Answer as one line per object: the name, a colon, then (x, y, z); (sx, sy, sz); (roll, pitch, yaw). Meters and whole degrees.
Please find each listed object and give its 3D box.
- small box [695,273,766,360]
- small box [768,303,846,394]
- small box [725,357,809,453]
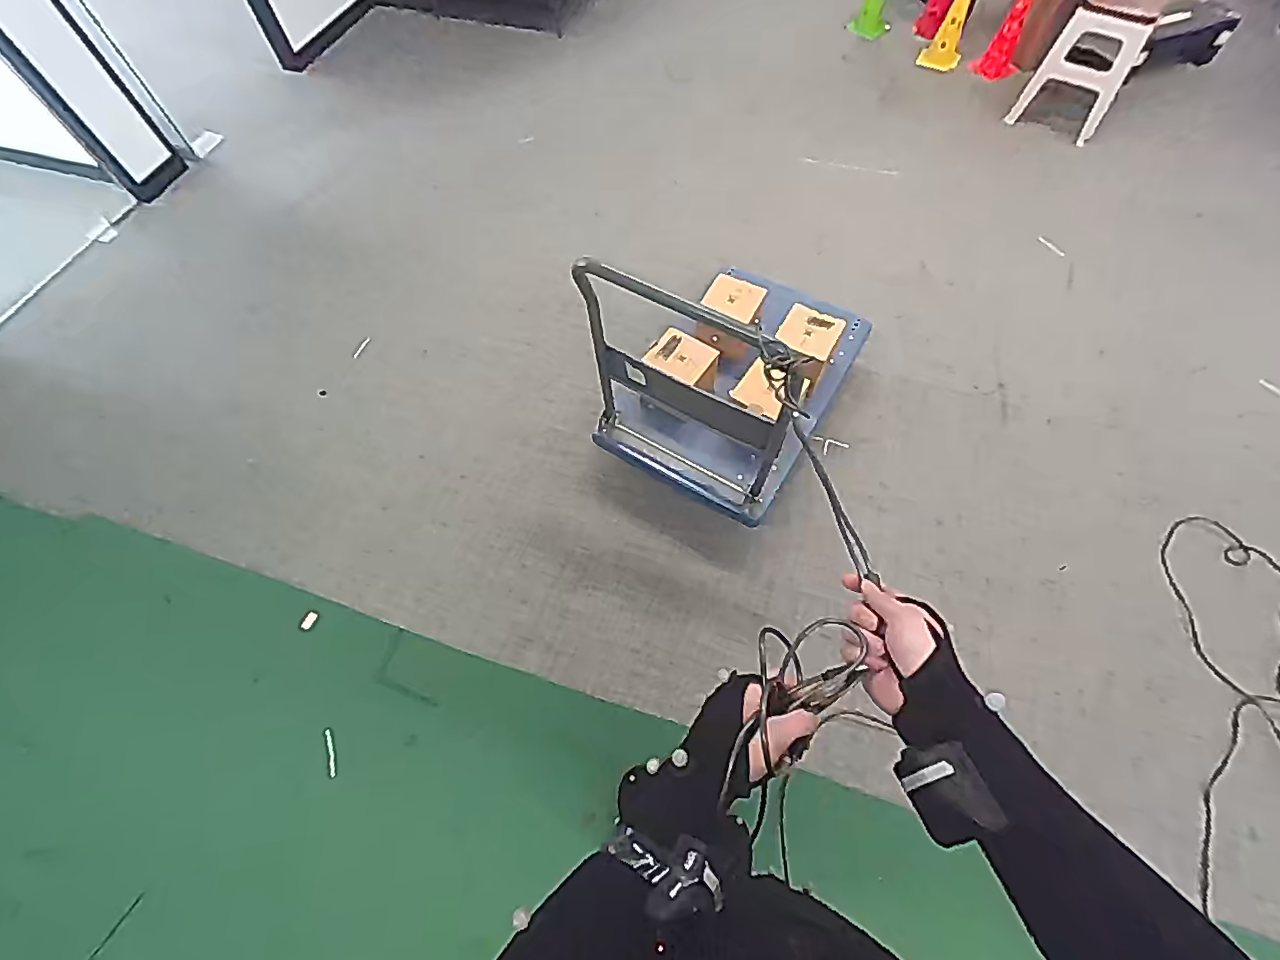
small box: (0.283, -0.515, 1.724); (0.168, 0.176, 0.179); (26, 66, 14)
small box: (0.499, -0.399, 1.653); (0.168, 0.176, 0.179); (27, 67, 16)
small box: (0.360, -0.213, 1.564); (0.168, 0.176, 0.179); (30, 68, 17)
